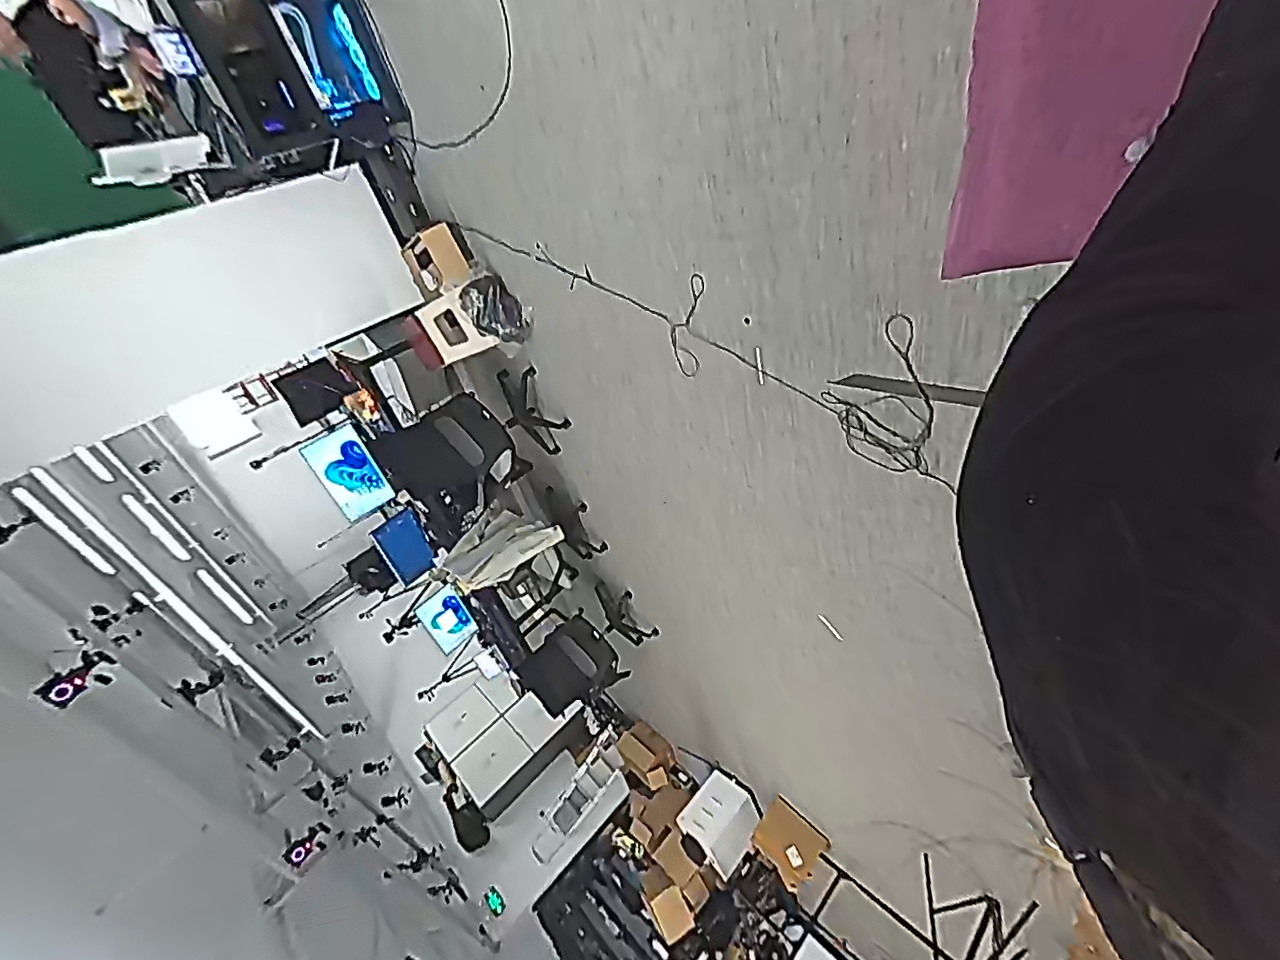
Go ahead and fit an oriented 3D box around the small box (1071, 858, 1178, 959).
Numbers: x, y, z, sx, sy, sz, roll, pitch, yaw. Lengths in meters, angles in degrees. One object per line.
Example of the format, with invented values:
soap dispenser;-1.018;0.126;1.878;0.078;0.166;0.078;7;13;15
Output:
small box;1.423;1.266;1.589;0.179;0.176;0.168;29;144;37

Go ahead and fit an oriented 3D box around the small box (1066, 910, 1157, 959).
small box;1.318;1.369;1.518;0.168;0.176;0.179;15;136;49
